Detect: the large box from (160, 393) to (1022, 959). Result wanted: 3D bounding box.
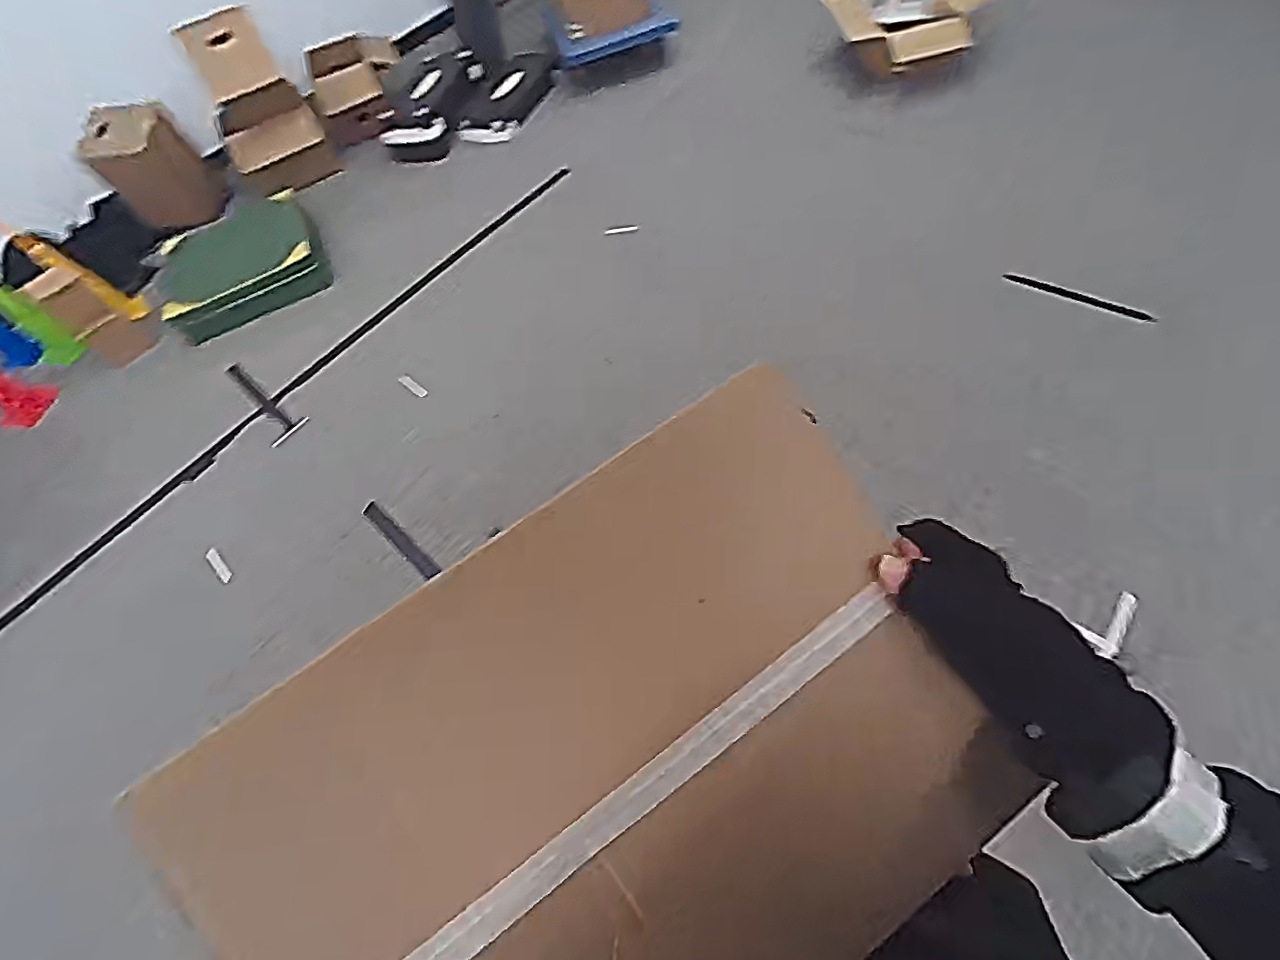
[{"bbox_3d":[-0.020,0.188,0.453,0.408,0.320,0.320,-35,91,-9],"label":"large box"}]
